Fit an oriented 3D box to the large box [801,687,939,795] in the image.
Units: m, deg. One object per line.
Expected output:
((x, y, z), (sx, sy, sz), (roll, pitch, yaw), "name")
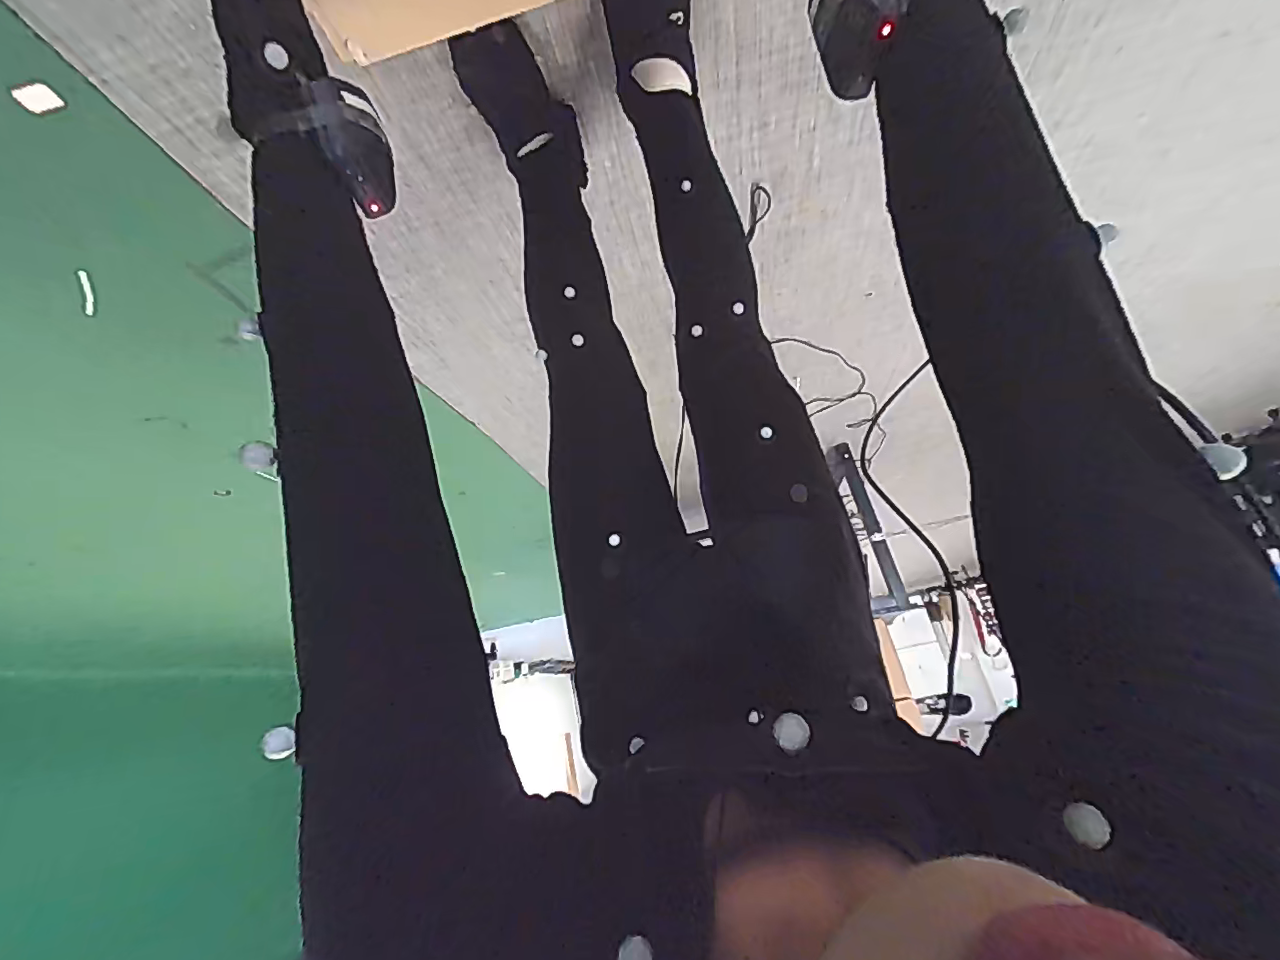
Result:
((0.907, 1.041, 2.190), (0.408, 0.320, 0.320), (-13, 158, 5), "large box")
